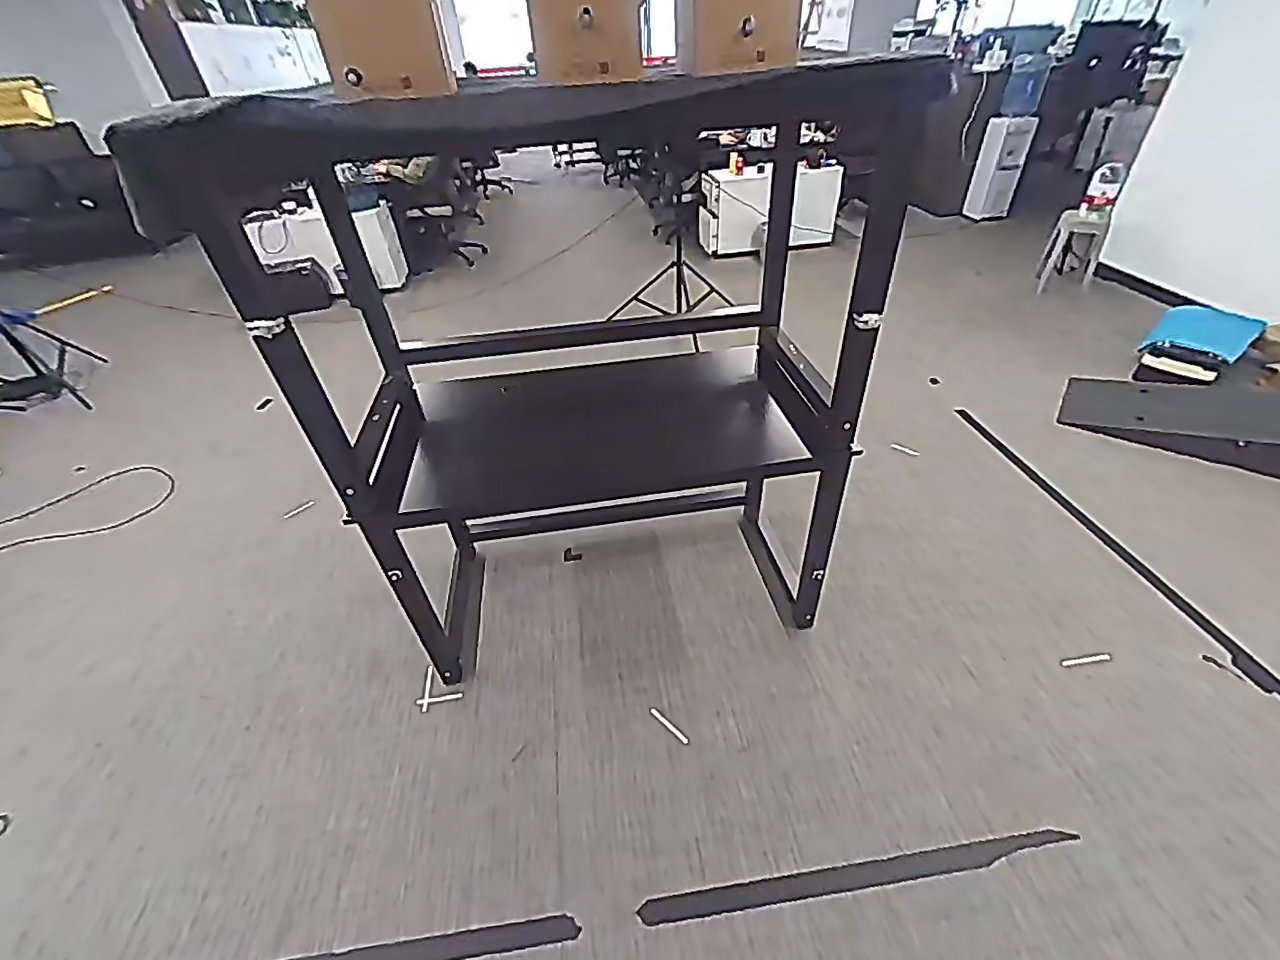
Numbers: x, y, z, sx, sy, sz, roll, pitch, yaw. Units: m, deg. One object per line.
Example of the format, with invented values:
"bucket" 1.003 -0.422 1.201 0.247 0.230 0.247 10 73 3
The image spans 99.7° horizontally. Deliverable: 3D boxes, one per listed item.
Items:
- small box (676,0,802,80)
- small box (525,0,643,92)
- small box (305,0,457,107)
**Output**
"small box" 0.149 -0.744 0.856 0.168 0.176 0.179 -8 39 -3
"small box" -0.086 -0.715 0.844 0.168 0.176 0.179 -5 39 -2
"small box" -0.387 -0.679 0.827 0.168 0.176 0.179 -10 38 -7
